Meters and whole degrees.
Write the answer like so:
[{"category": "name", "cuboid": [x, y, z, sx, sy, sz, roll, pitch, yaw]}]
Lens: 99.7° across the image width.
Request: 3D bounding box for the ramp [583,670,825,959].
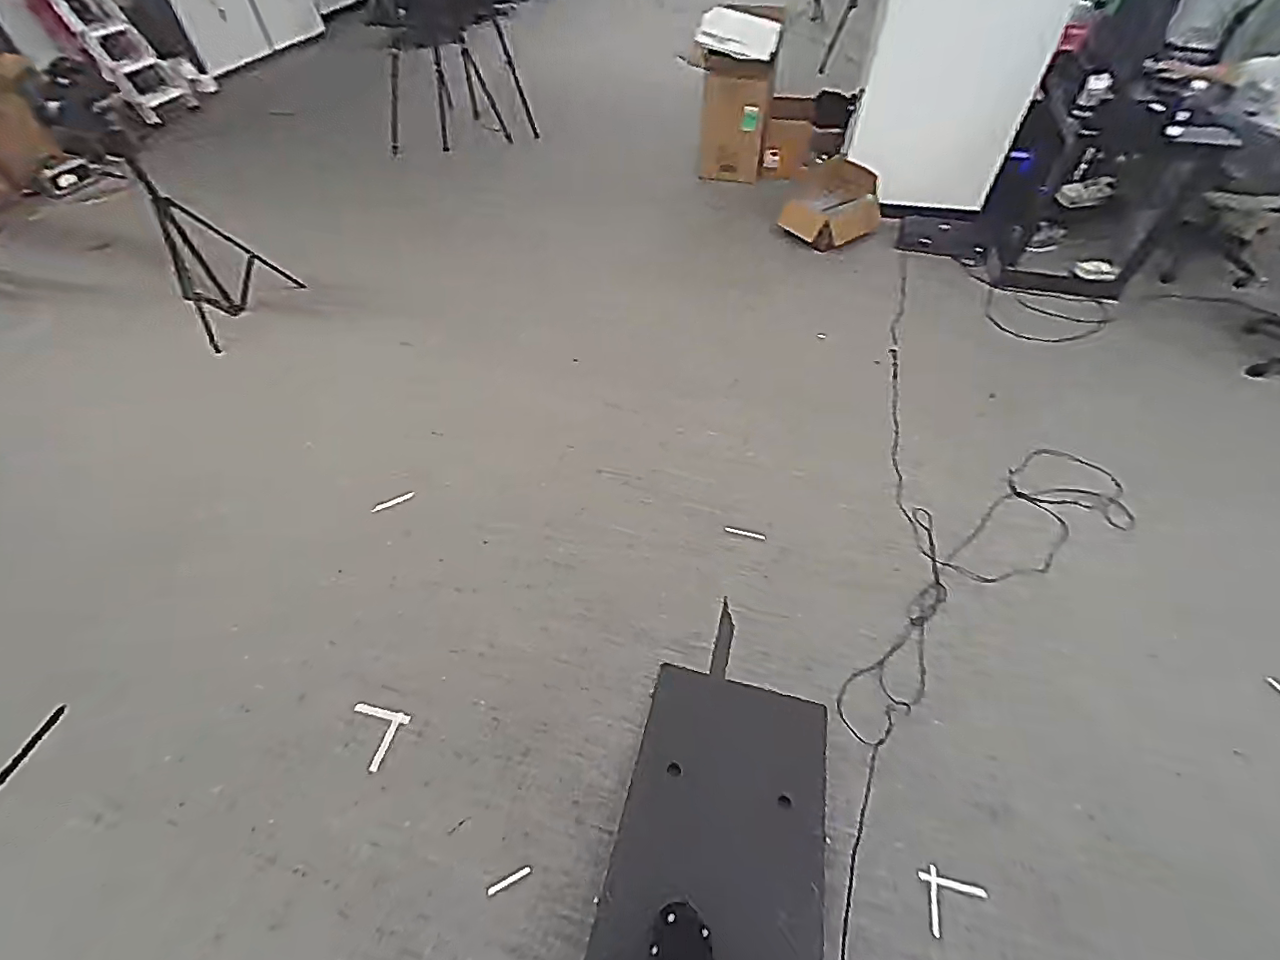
[{"category": "ramp", "cuboid": [0.164, 0.931, 1.235, 0.509, 0.206, 0.991, 9, 52, 11]}]
